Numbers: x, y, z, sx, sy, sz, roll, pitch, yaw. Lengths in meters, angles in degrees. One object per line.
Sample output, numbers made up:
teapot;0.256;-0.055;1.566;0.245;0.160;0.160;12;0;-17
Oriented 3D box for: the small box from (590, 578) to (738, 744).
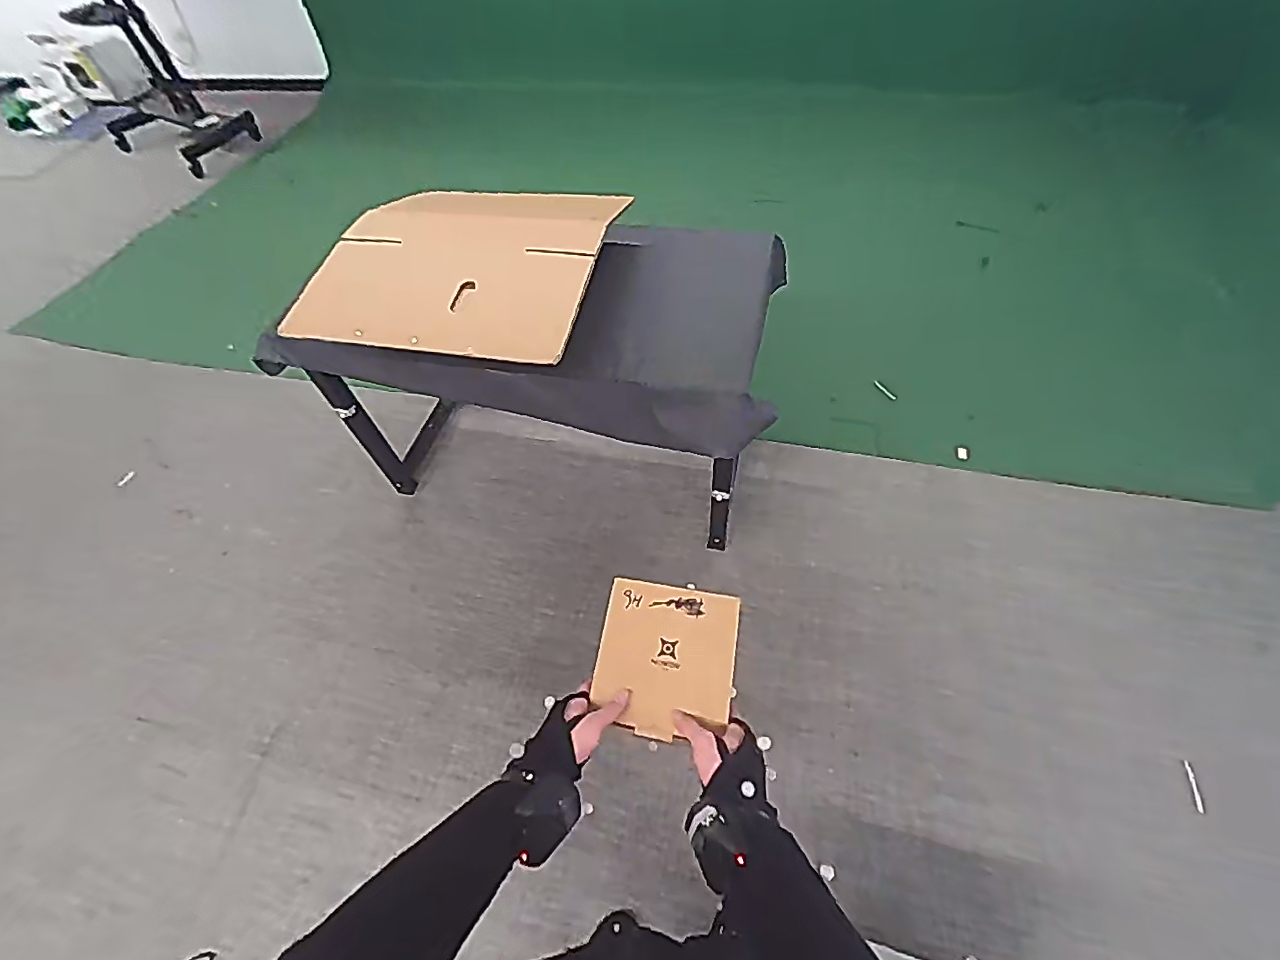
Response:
small box;0.038;0.251;0.733;0.168;0.176;0.179;6;61;6
